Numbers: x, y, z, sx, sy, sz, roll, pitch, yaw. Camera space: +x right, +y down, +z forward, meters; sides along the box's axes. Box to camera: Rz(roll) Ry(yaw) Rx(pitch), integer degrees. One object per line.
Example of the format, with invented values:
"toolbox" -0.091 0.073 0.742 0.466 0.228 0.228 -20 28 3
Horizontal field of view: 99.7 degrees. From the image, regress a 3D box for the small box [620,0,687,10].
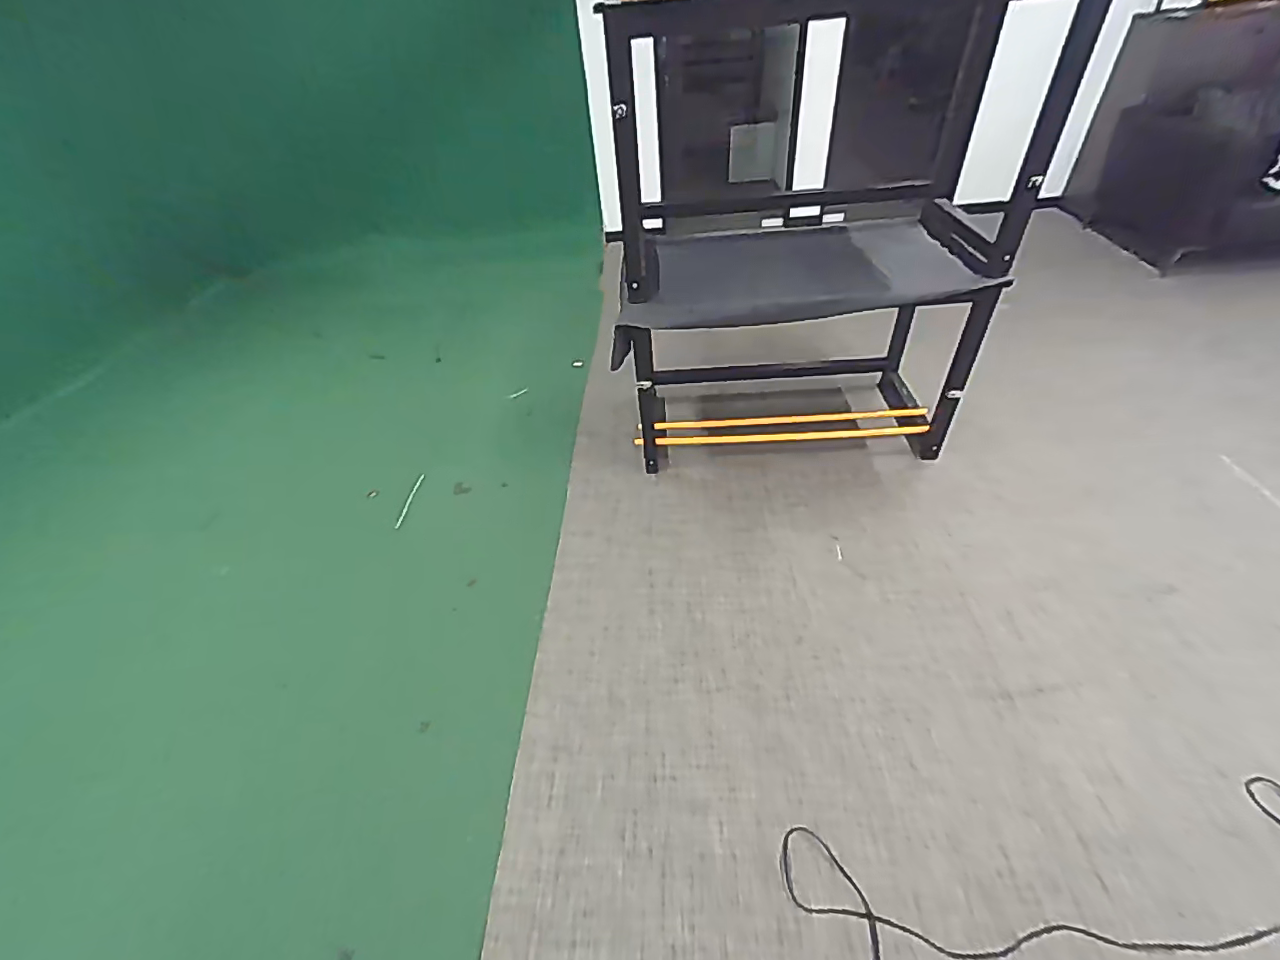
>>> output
"small box" 0.028 -1.260 1.314 0.168 0.176 0.179 -4 43 2
